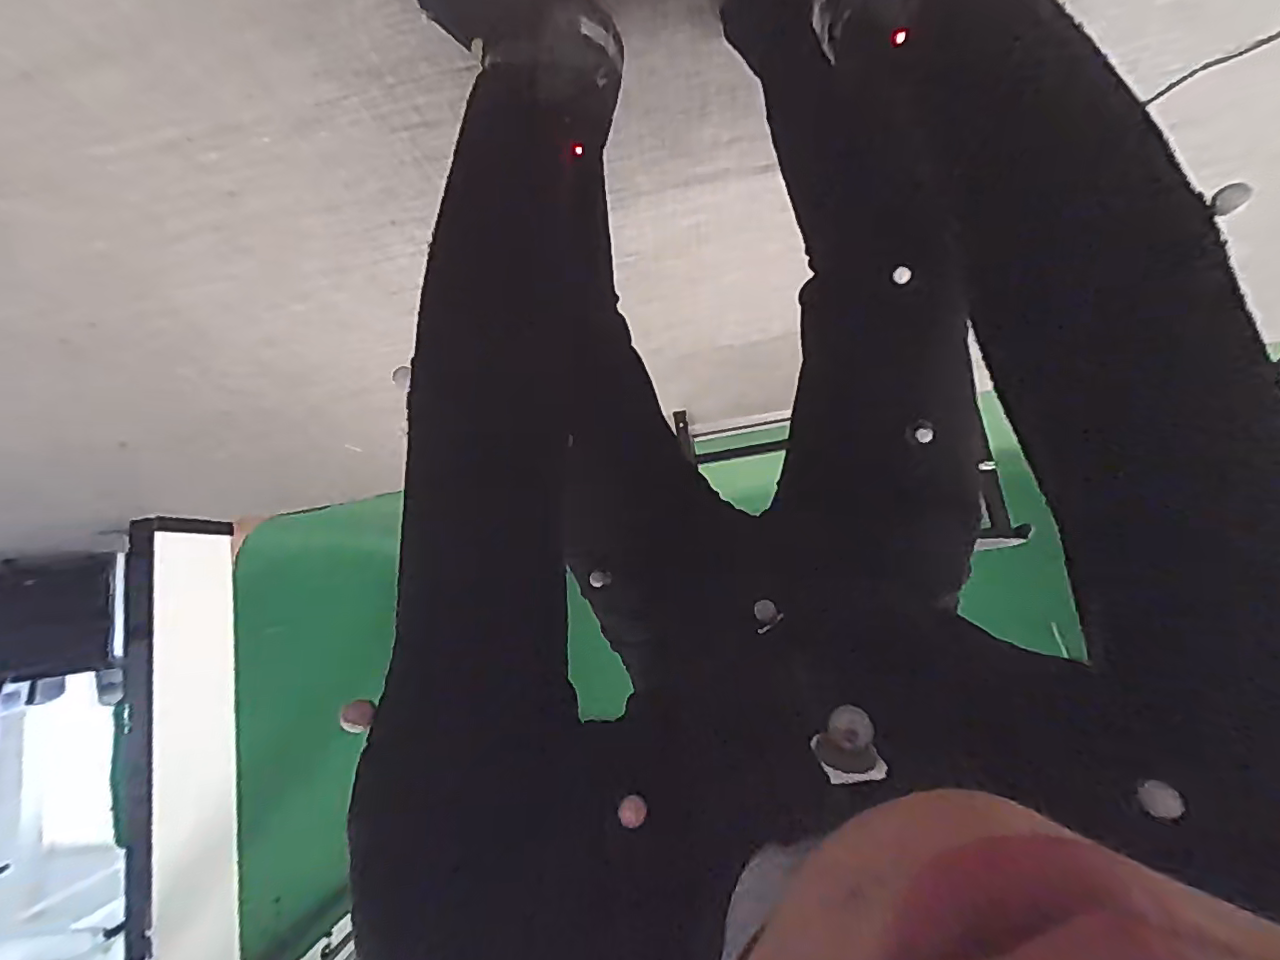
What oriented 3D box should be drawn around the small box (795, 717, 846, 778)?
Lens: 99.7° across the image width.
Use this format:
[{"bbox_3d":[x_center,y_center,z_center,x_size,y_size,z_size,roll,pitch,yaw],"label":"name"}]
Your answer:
[{"bbox_3d":[0.707,1.050,2.130,0.168,0.176,0.179,-8,172,16],"label":"small box"}]
